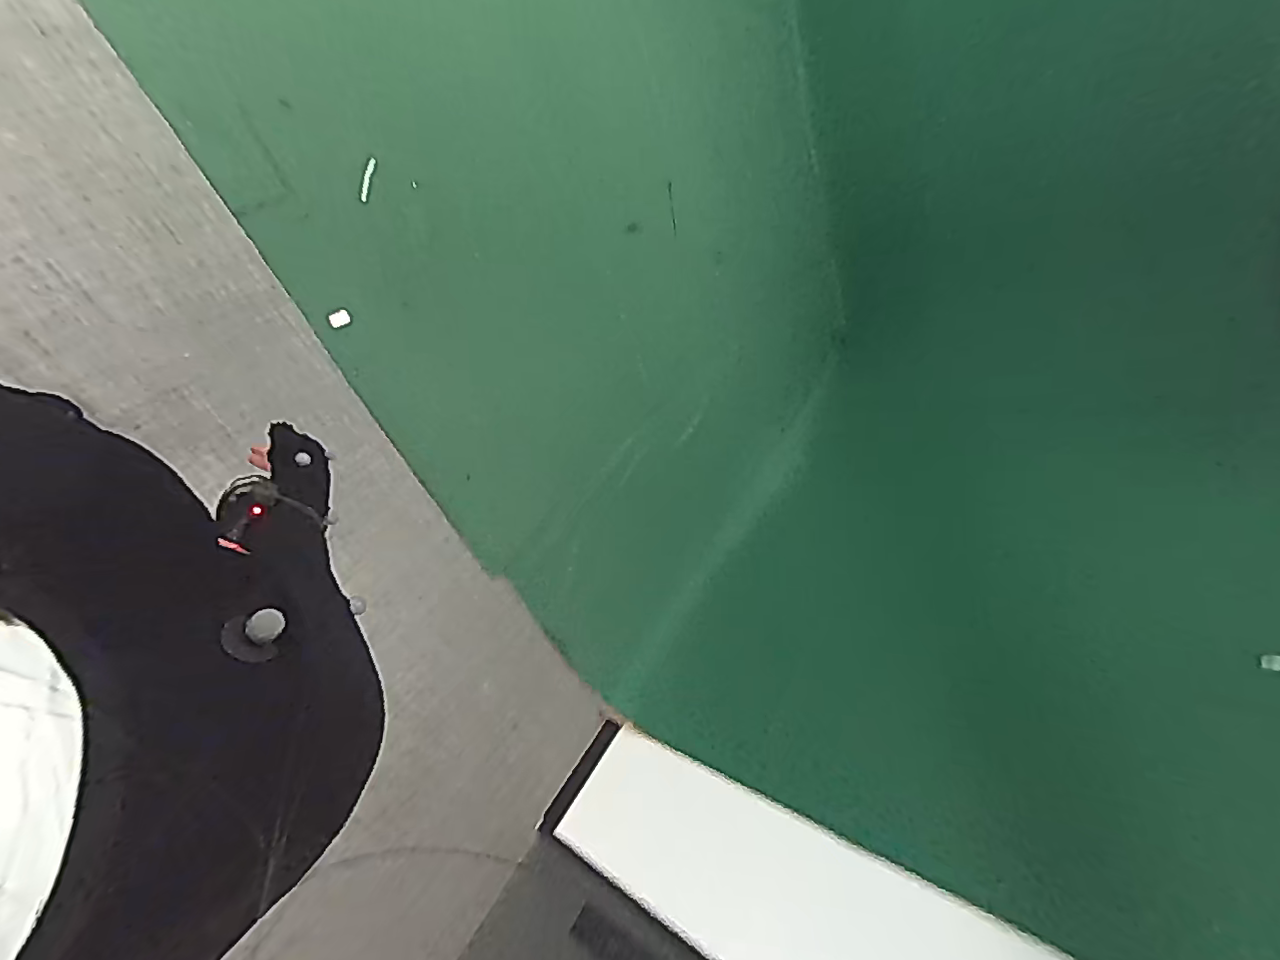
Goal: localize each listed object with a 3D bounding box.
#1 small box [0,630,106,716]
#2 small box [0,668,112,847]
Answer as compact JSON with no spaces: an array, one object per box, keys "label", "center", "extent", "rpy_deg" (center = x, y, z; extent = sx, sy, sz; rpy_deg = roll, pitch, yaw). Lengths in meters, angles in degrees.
[{"label":"small box","center":[-1.113,0.397,0.958],"extent":[0.179,0.176,0.168],"rpy_deg":[-47,127,-36]},{"label":"small box","center":[-0.997,0.426,0.849],"extent":[0.168,0.176,0.179],"rpy_deg":[-48,127,-36]}]
